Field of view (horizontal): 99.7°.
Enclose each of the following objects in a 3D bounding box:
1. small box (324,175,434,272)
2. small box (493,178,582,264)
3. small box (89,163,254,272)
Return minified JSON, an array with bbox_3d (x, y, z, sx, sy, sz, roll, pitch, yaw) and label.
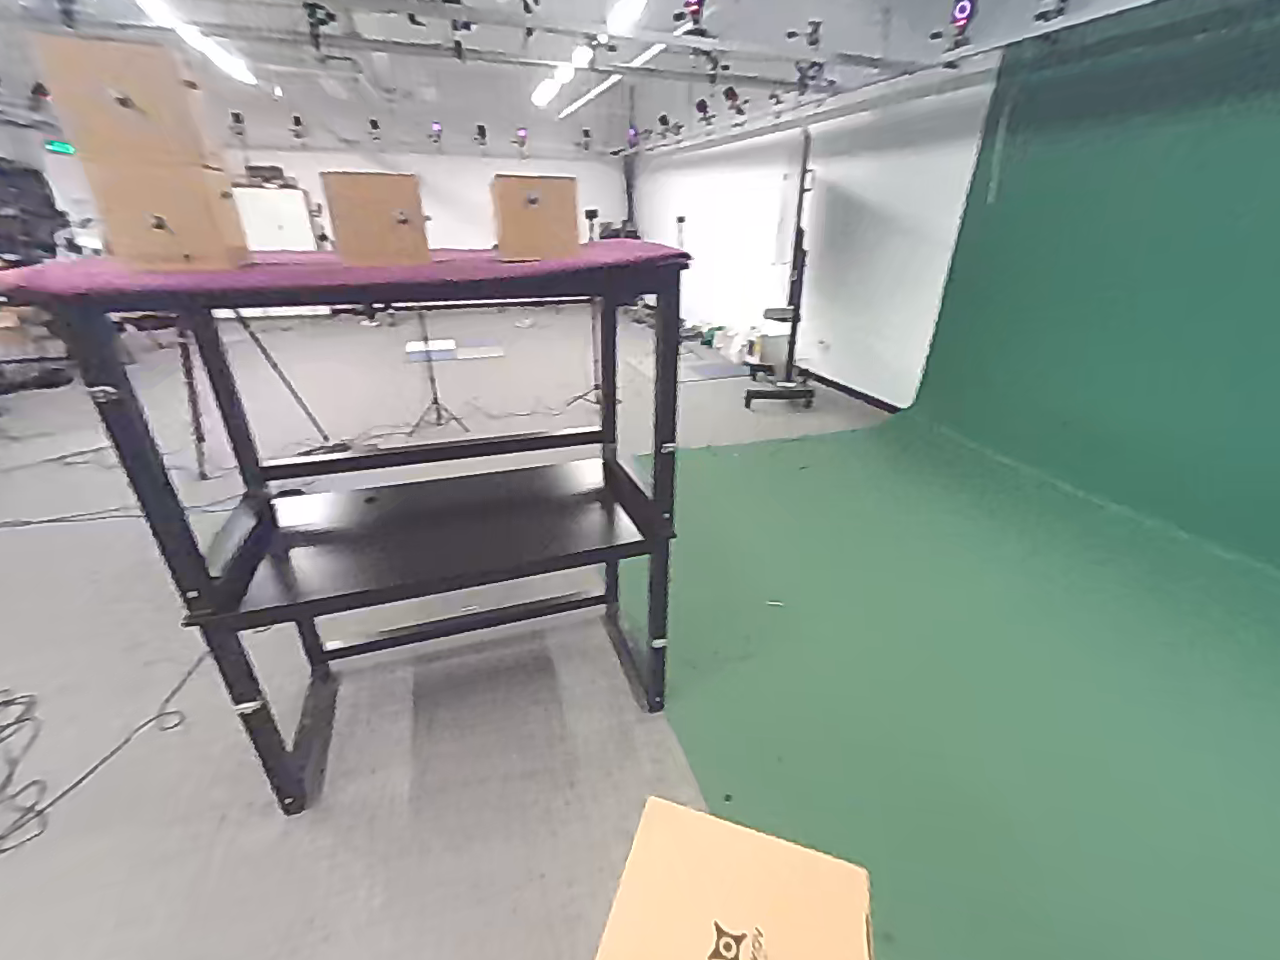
[{"bbox_3d":[-0.534,-0.535,1.132,0.179,0.176,0.168,-10,27,-18],"label":"small box"},{"bbox_3d":[-0.238,-0.592,1.253,0.179,0.176,0.168,-7,25,-16],"label":"small box"},{"bbox_3d":[-0.845,-0.481,1.000,0.168,0.176,0.179,-8,27,-20],"label":"small box"}]
